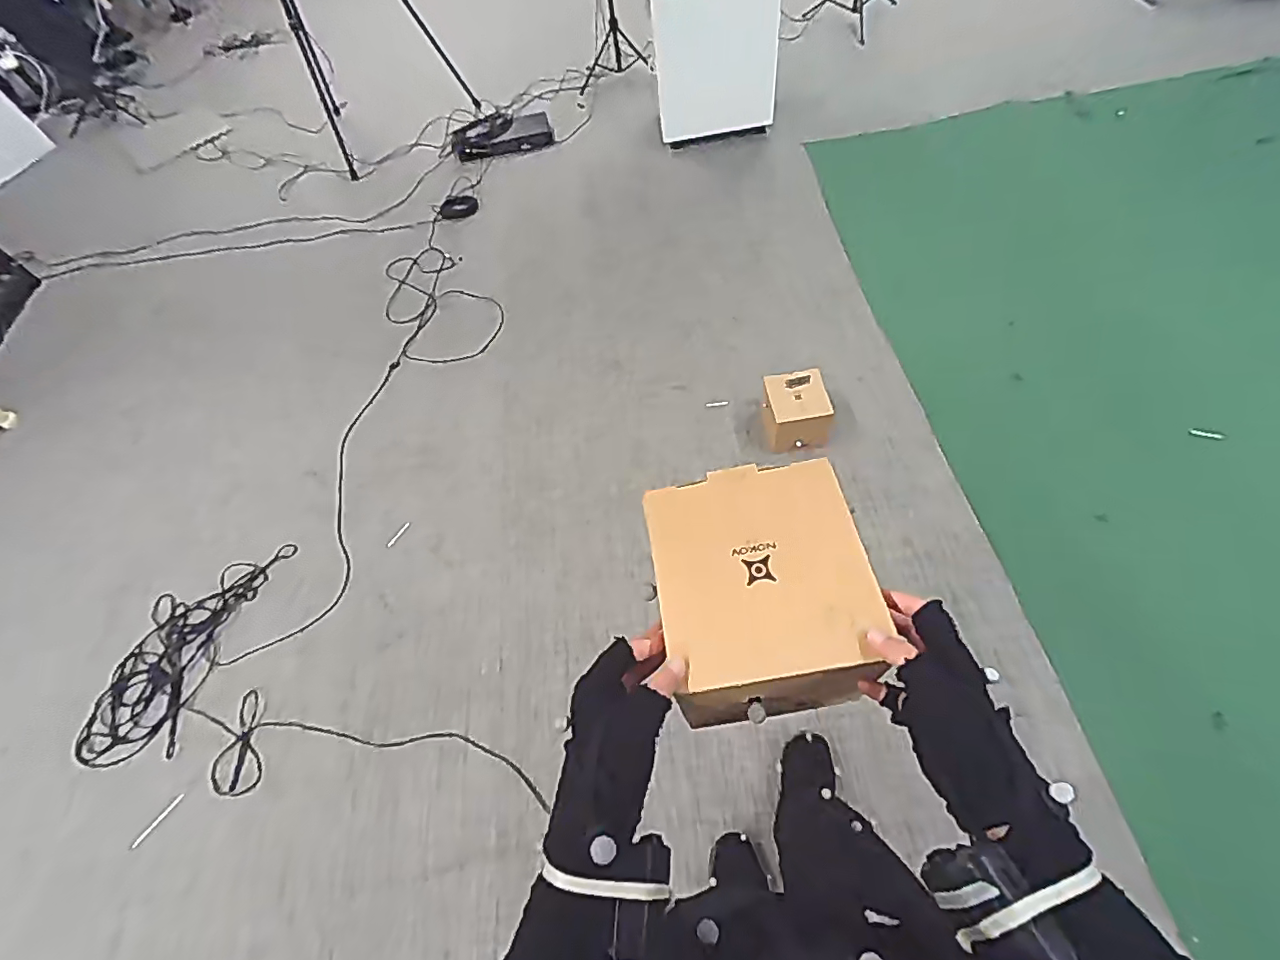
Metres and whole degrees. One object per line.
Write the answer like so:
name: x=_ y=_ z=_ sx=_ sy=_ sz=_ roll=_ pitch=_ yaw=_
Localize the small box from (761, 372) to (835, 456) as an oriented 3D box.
small box: x=0.469 y=-0.196 z=1.632 sx=0.168 sy=0.176 sz=0.179 roll=-9 pitch=60 yaw=3
